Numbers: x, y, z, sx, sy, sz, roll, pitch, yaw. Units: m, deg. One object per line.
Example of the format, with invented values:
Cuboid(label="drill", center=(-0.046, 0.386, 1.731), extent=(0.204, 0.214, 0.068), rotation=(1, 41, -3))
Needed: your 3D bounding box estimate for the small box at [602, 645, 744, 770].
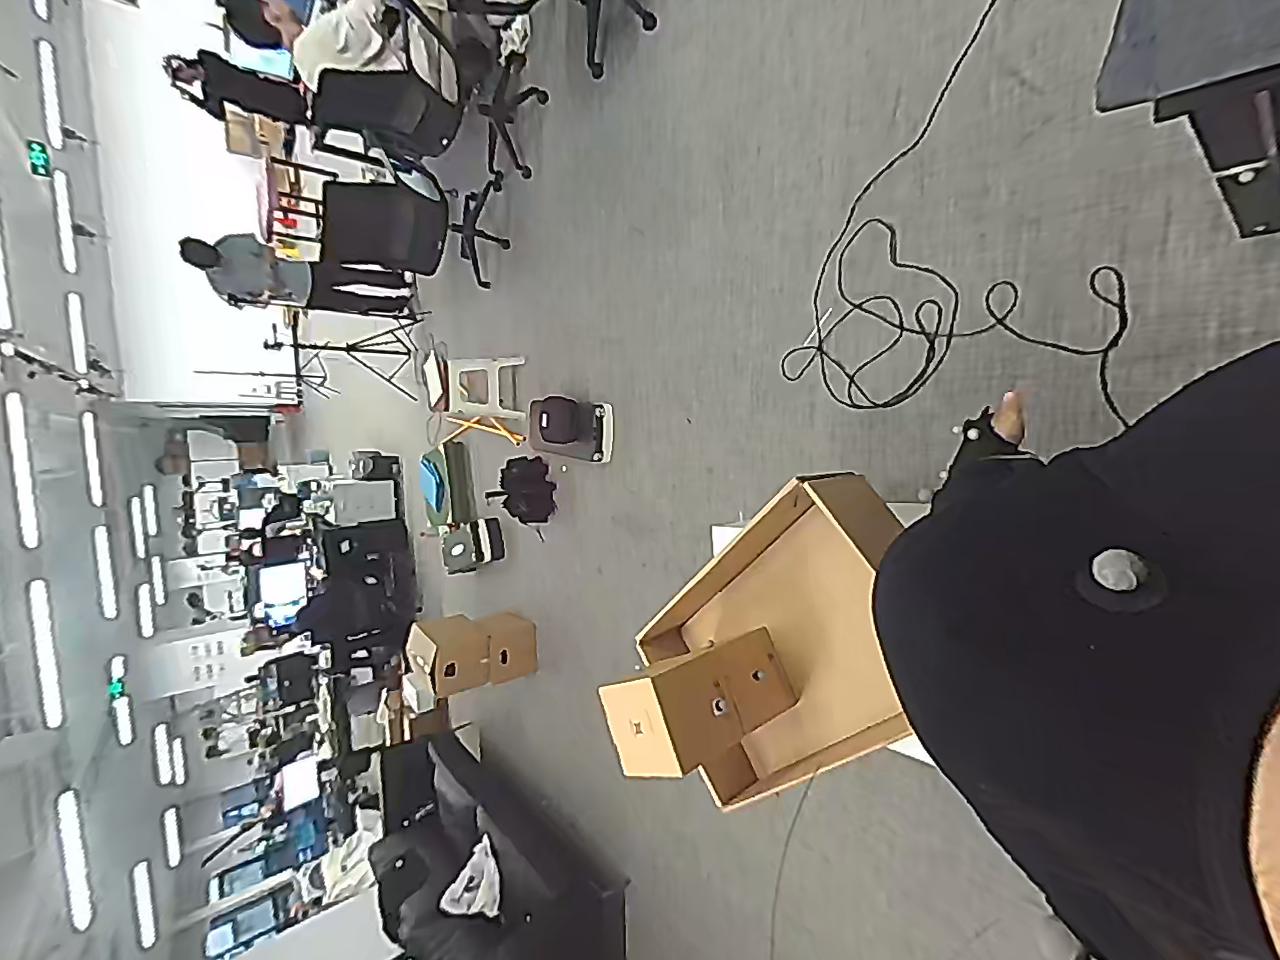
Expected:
Cuboid(label="small box", center=(0.061, 0.427, 1.020), extent=(0.179, 0.176, 0.168), rotation=(-35, 71, 46))
